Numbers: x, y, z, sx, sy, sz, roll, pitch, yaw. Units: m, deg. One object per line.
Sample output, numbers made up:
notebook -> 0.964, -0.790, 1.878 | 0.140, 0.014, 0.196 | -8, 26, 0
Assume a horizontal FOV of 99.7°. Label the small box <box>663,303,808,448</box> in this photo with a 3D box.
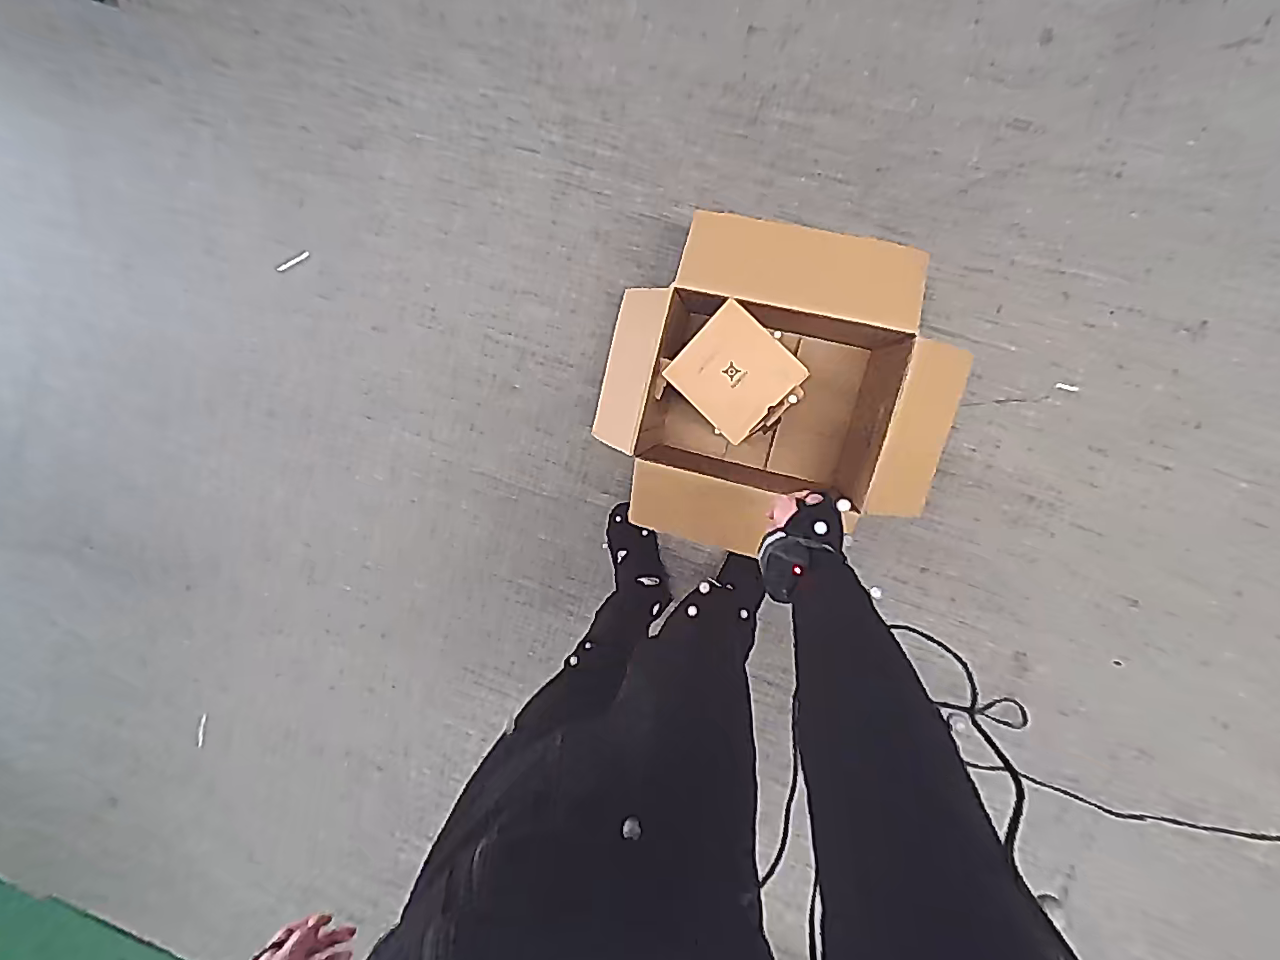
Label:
small box -> 0.172, -0.178, 0.945 | 0.179, 0.176, 0.168 | 46, 106, 6
